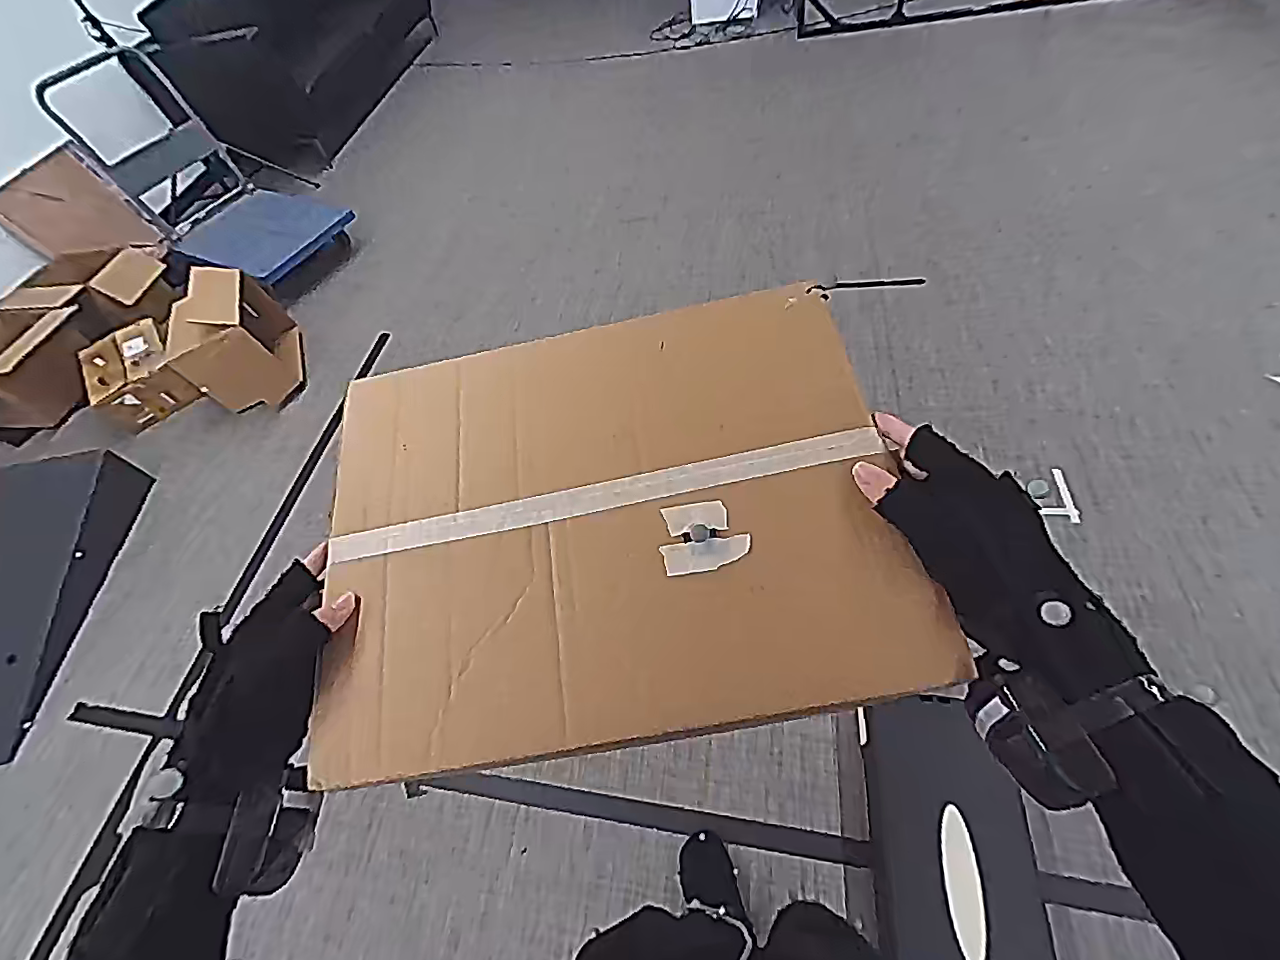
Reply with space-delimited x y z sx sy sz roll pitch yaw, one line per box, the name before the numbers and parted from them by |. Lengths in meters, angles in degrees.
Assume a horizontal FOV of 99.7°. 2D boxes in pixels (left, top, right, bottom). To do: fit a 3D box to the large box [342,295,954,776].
large box | -0.005 0.079 0.537 0.408 0.320 0.320 -11 64 3
